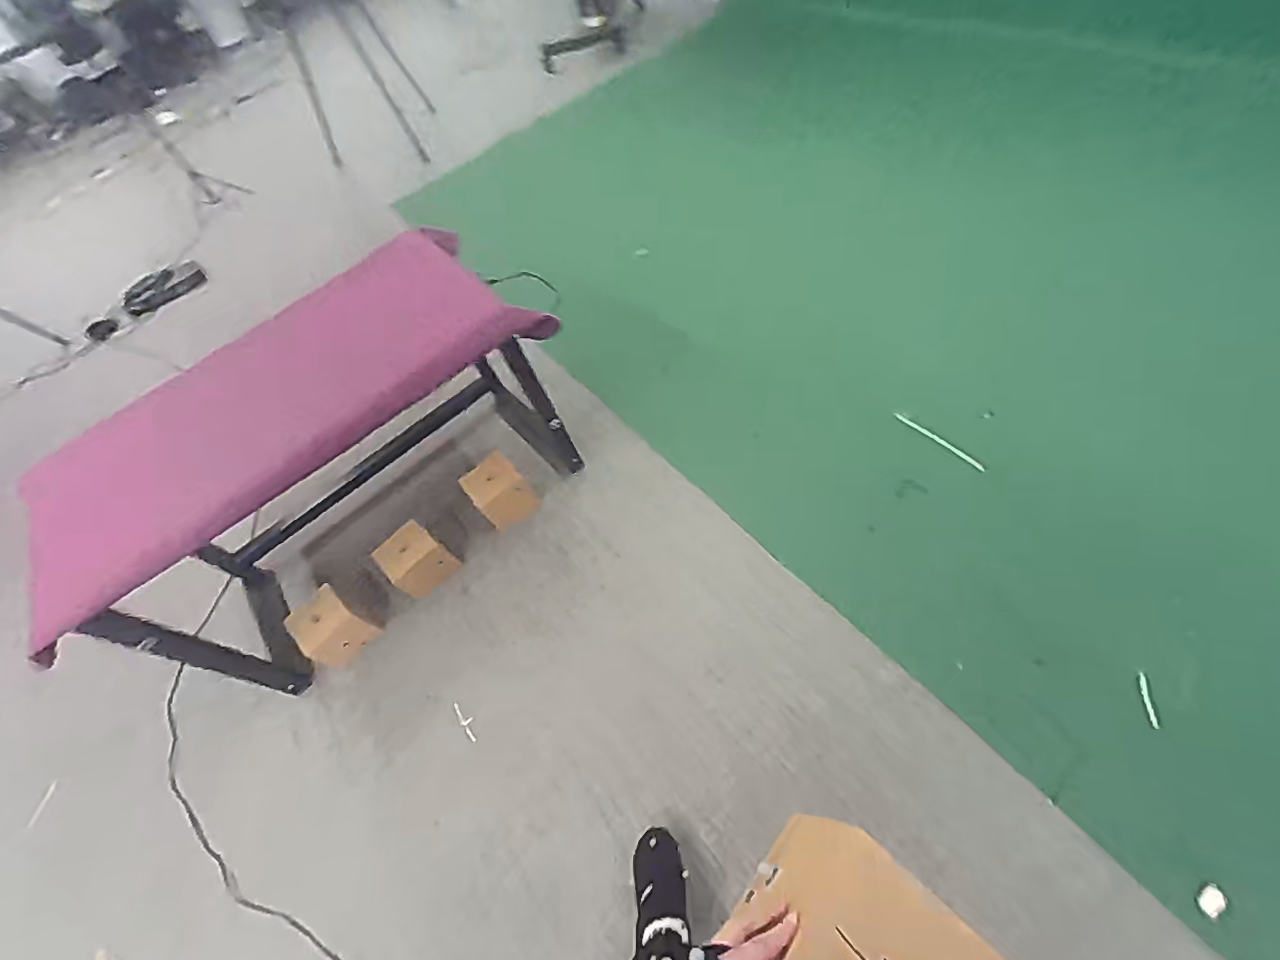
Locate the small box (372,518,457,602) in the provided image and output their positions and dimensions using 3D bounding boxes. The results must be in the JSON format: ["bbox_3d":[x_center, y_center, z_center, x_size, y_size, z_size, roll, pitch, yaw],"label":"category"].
[{"bbox_3d":[-0.733,0.266,1.782,0.168,0.176,0.179,35,72,32],"label":"small box"}]

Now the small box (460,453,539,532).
[{"bbox_3d":[-0.480,0.047,1.867,0.179,0.176,0.168,-38,56,-13],"label":"small box"}]

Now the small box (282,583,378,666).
[{"bbox_3d":[-0.970,0.463,1.707,0.179,0.176,0.168,34,70,30],"label":"small box"}]
